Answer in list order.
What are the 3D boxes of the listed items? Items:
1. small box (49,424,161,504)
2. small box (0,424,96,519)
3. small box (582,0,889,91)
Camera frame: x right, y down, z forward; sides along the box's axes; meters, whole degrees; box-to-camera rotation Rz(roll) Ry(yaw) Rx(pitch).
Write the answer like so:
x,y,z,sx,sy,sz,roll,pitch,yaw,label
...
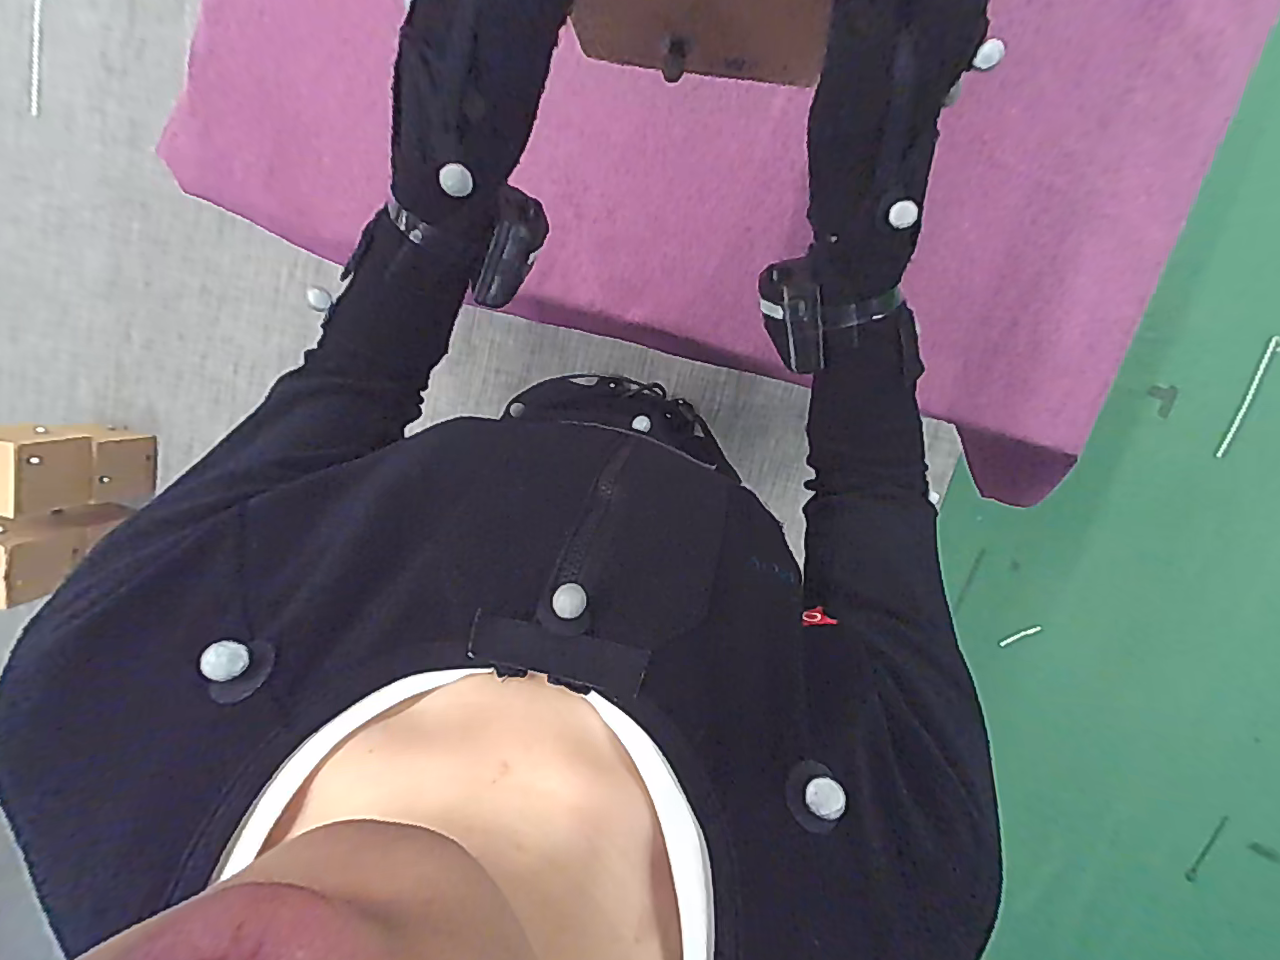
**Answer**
x,y,z,sx,sy,sz,roll,pitch,yaw,label
-1.436,-0.050,1.436,0.179,0.176,0.168,13,101,0,small box
-1.445,-0.026,1.275,0.168,0.176,0.179,12,100,-1,small box
0.051,-0.334,0.271,0.168,0.176,0.179,7,110,1,small box
